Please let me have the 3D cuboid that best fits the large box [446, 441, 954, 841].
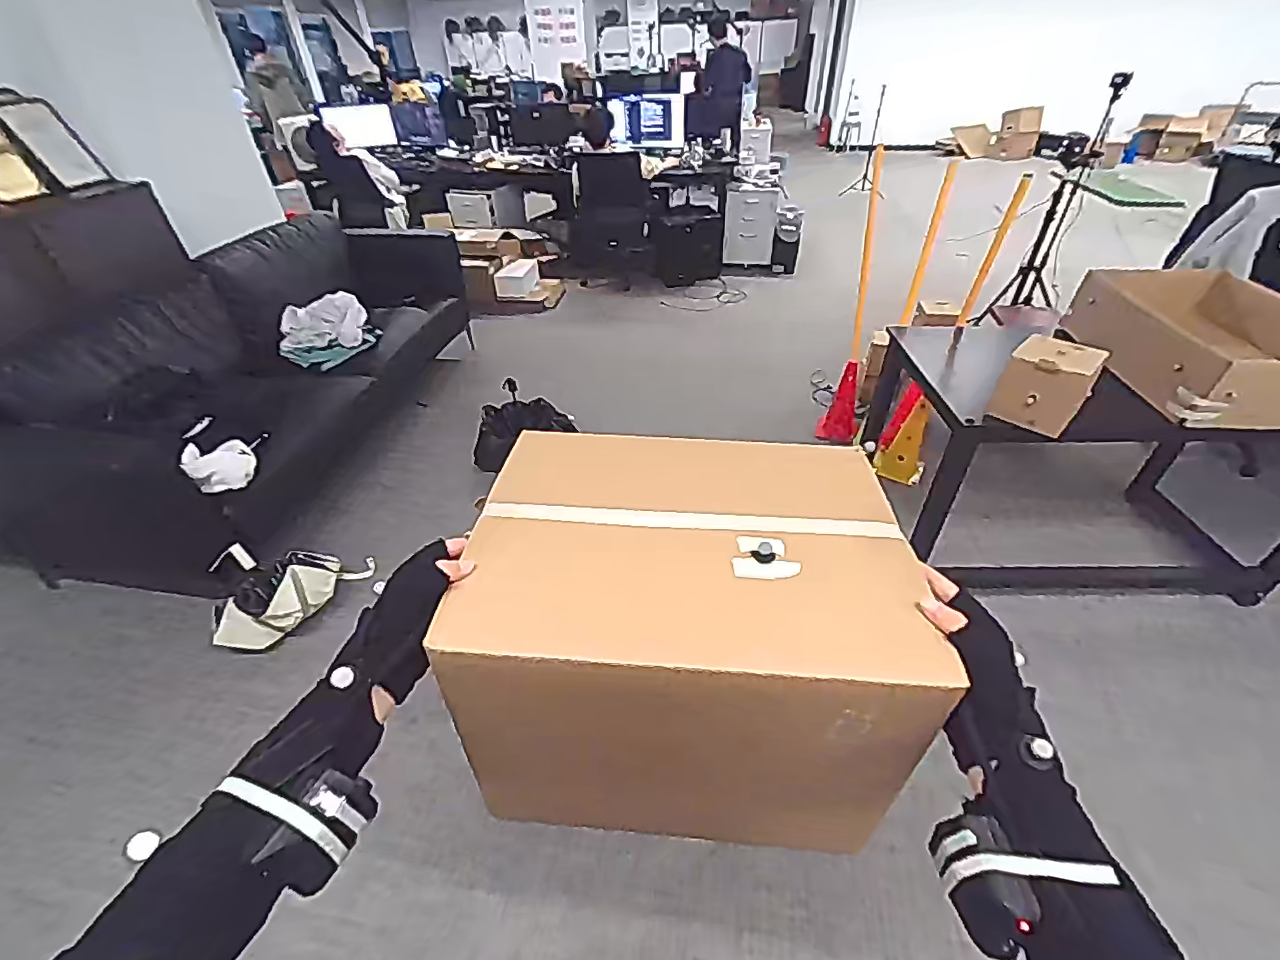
[{"bbox_3d":[0.047,0.172,0.621,0.408,0.320,0.320,4,37,3],"label":"large box"}]
